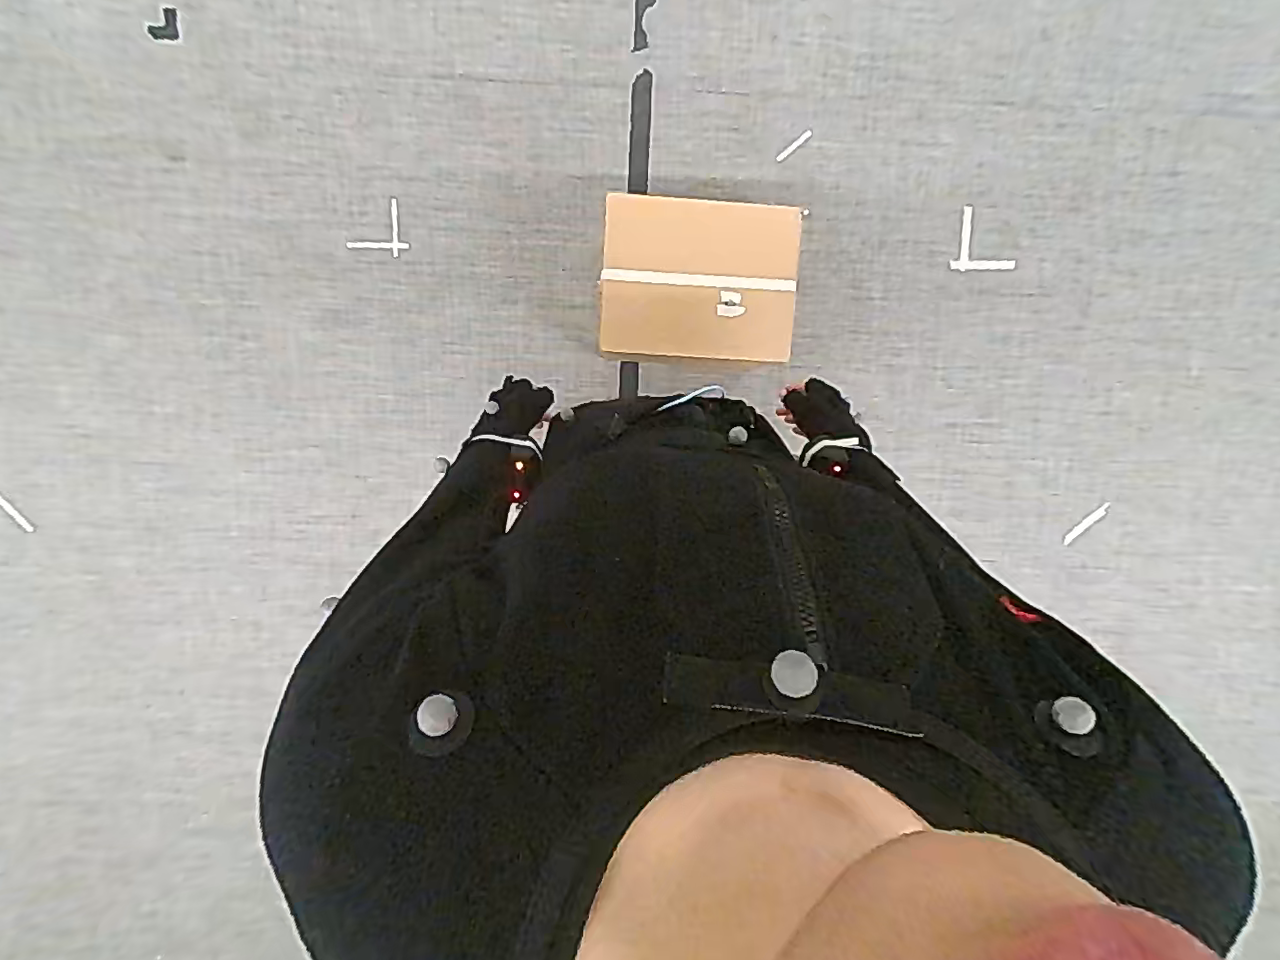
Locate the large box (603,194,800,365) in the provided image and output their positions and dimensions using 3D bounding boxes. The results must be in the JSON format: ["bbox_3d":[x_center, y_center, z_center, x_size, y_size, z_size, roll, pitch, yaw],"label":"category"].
[{"bbox_3d":[0.117,-0.445,1.279,0.408,0.320,0.320,3,100,-4],"label":"large box"}]
